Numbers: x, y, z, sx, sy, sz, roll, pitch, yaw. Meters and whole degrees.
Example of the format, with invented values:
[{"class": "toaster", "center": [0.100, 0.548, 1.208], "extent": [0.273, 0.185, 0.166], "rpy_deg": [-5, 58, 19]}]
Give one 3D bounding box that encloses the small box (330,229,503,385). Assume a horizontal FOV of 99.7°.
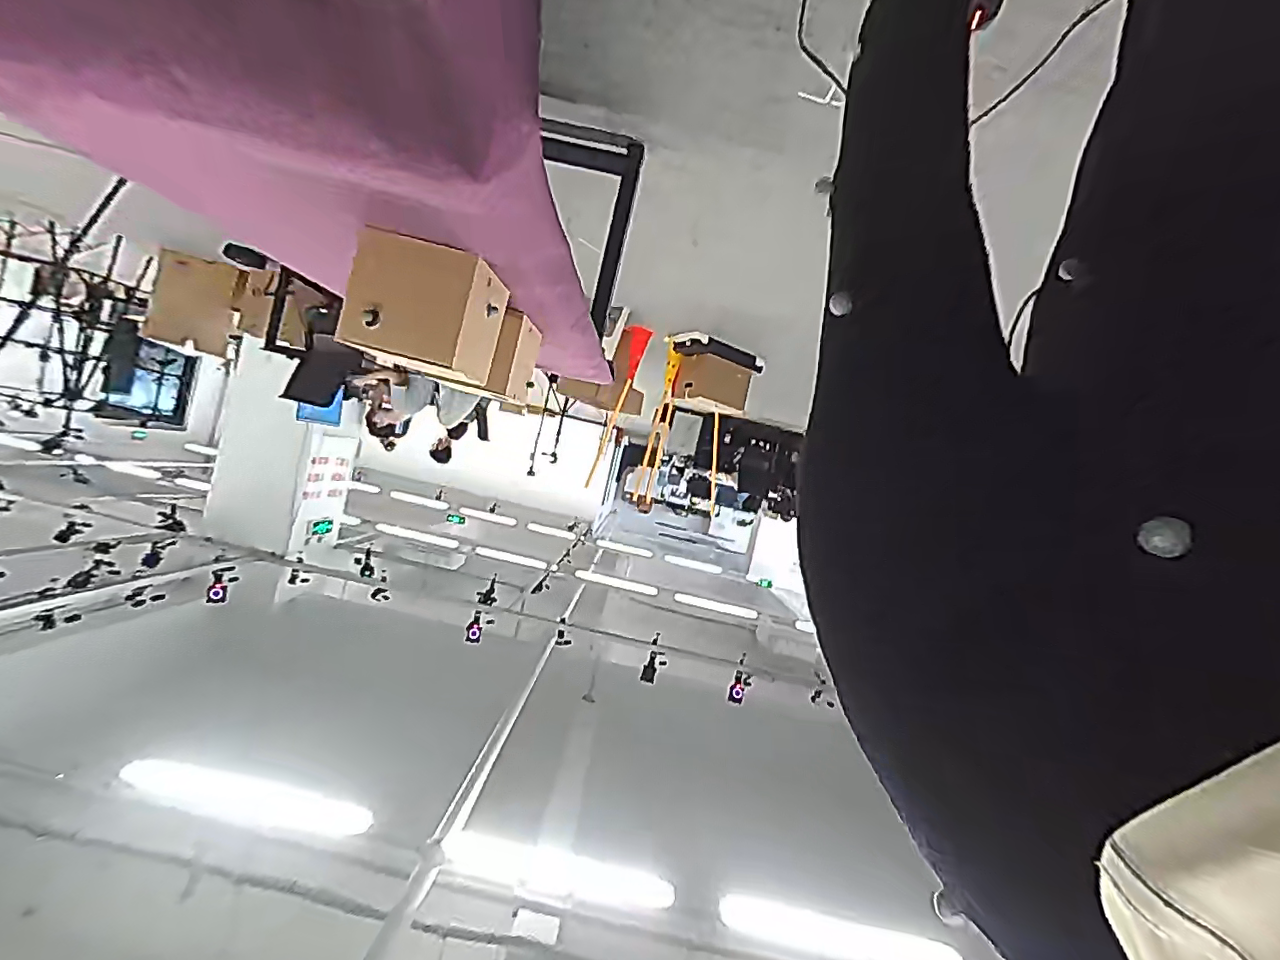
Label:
[{"class": "small box", "center": [-0.333, -0.261, 0.836], "extent": [0.179, 0.176, 0.168], "rpy_deg": [14, -179, 0]}]
